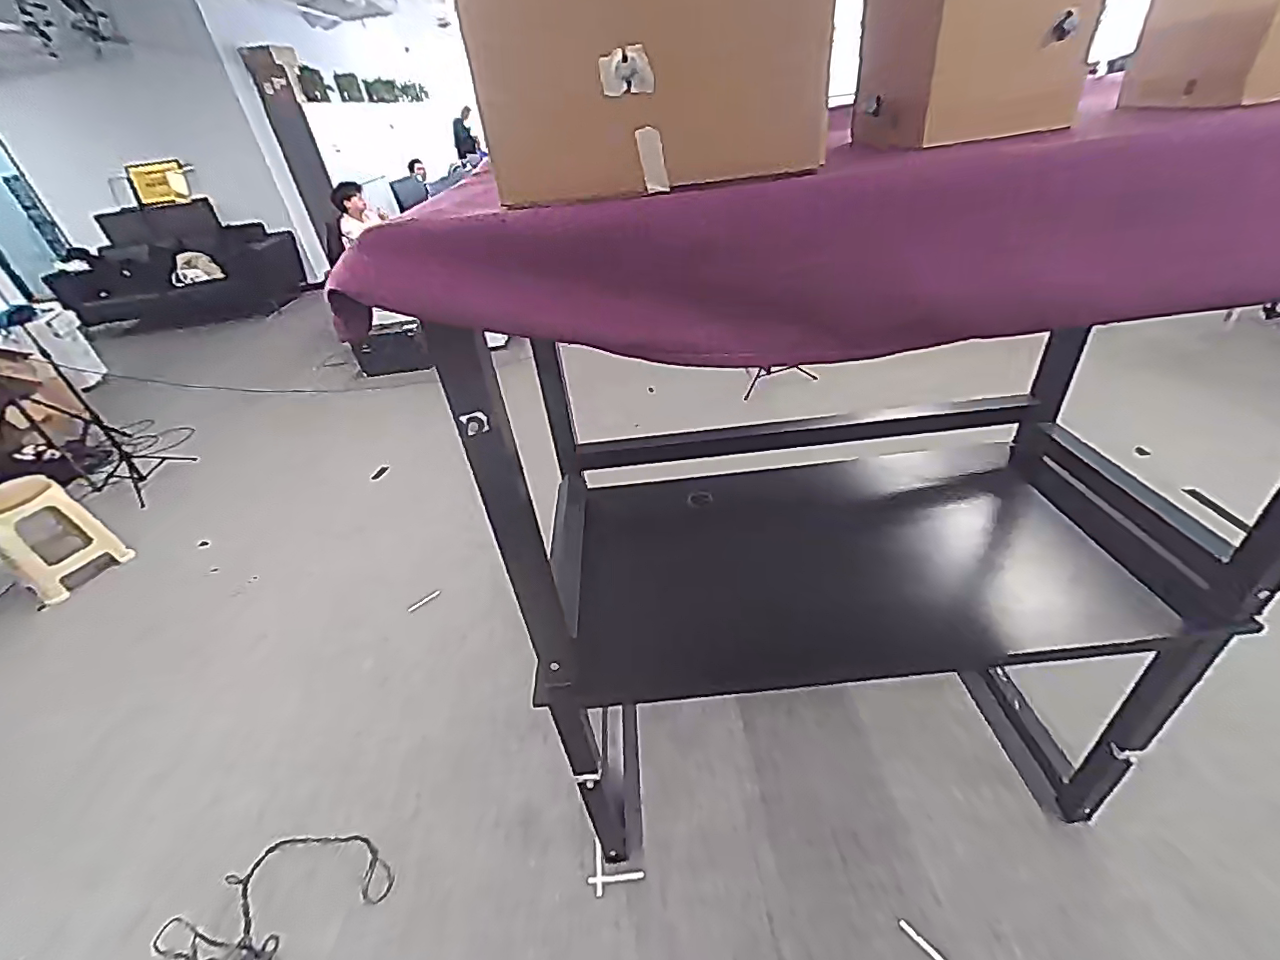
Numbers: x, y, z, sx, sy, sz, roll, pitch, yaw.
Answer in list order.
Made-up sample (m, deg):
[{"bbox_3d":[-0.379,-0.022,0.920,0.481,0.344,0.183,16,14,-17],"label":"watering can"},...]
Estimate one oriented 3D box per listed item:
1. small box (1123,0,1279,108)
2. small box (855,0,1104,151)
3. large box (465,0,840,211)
[{"bbox_3d":[0.681,-0.506,0.570,0.179,0.176,0.168,-6,34,2],"label":"small box"},{"bbox_3d":[0.360,-0.475,0.595,0.179,0.176,0.168,-10,34,-3],"label":"small box"},{"bbox_3d":[0.004,-0.501,0.584,0.320,0.320,0.408,-5,34,3],"label":"large box"}]
